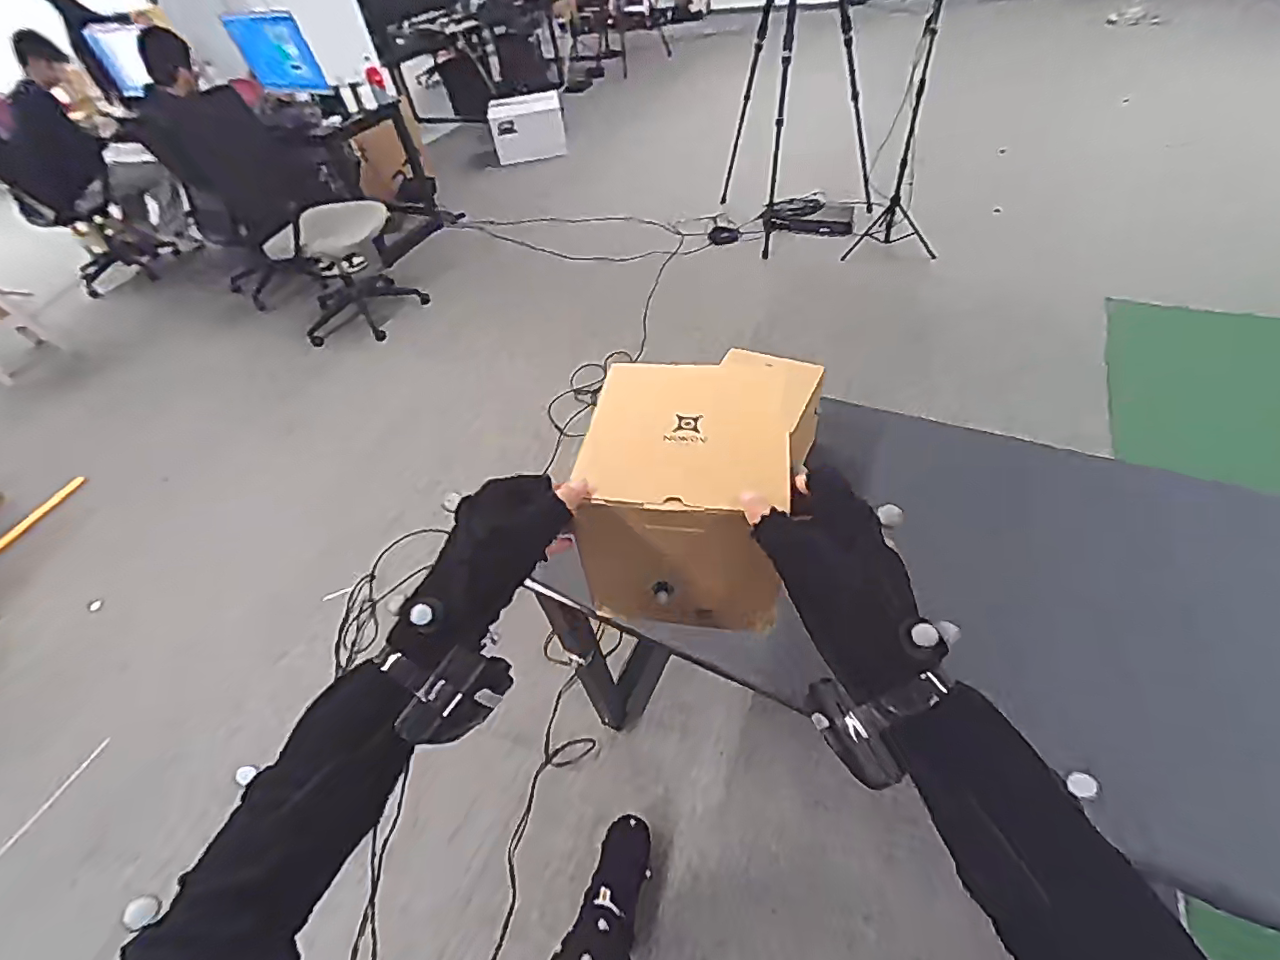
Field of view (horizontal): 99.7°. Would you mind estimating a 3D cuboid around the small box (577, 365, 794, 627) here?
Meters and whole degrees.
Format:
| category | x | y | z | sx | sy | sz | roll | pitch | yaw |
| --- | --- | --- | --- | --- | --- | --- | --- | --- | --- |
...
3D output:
| category | x | y | z | sx | sy | sz | roll | pitch | yaw |
| --- | --- | --- | --- | --- | --- | --- | --- | --- | --- |
| small box | 0.052 | 0.013 | 0.511 | 0.168 | 0.176 | 0.179 | 4 | 47 | 11 |
